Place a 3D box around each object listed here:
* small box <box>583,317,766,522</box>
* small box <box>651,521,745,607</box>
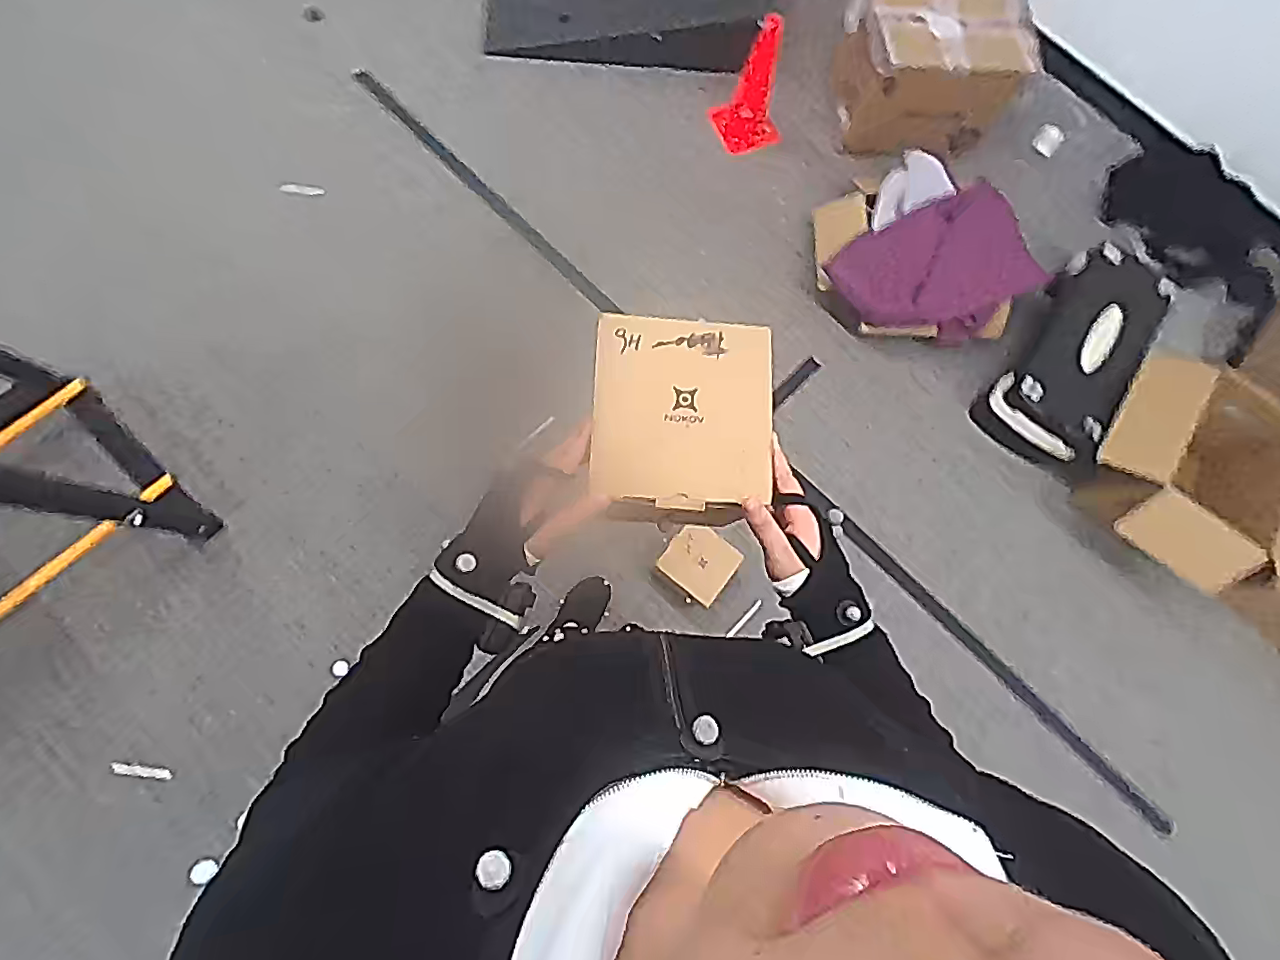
[{"bbox_3d":[0.028,-0.050,0.570,0.168,0.176,0.179,2,80,-5],"label":"small box"},{"bbox_3d":[0.148,0.222,1.455,0.179,0.176,0.168,39,77,5],"label":"small box"}]
